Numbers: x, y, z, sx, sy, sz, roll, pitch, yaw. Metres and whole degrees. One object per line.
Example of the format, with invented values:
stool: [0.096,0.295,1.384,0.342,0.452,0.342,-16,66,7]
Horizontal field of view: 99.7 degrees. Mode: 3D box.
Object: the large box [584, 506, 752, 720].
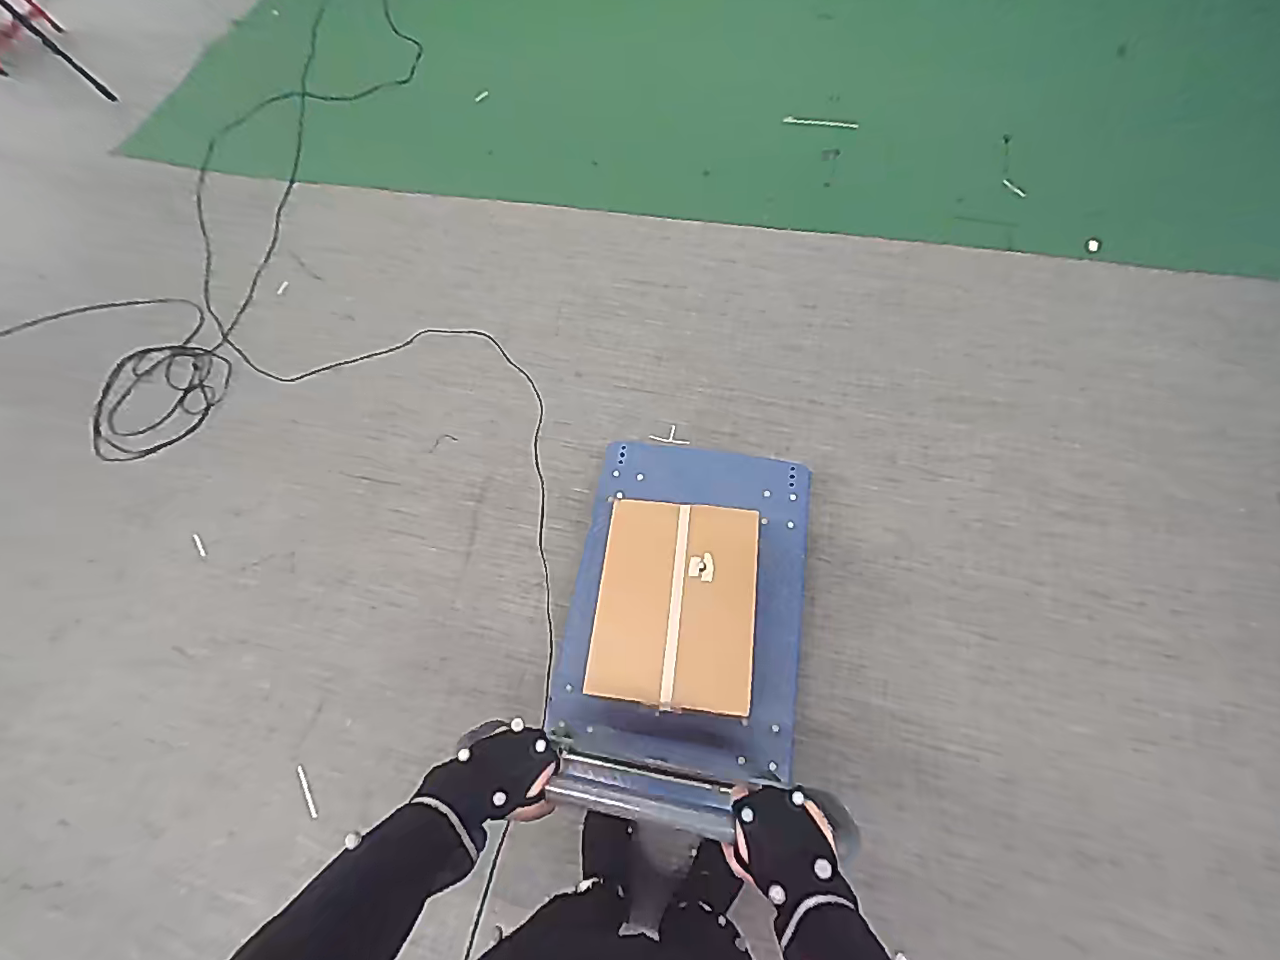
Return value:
large box: [0.079,0.309,1.220,0.320,0.320,0.408,5,66,7]
